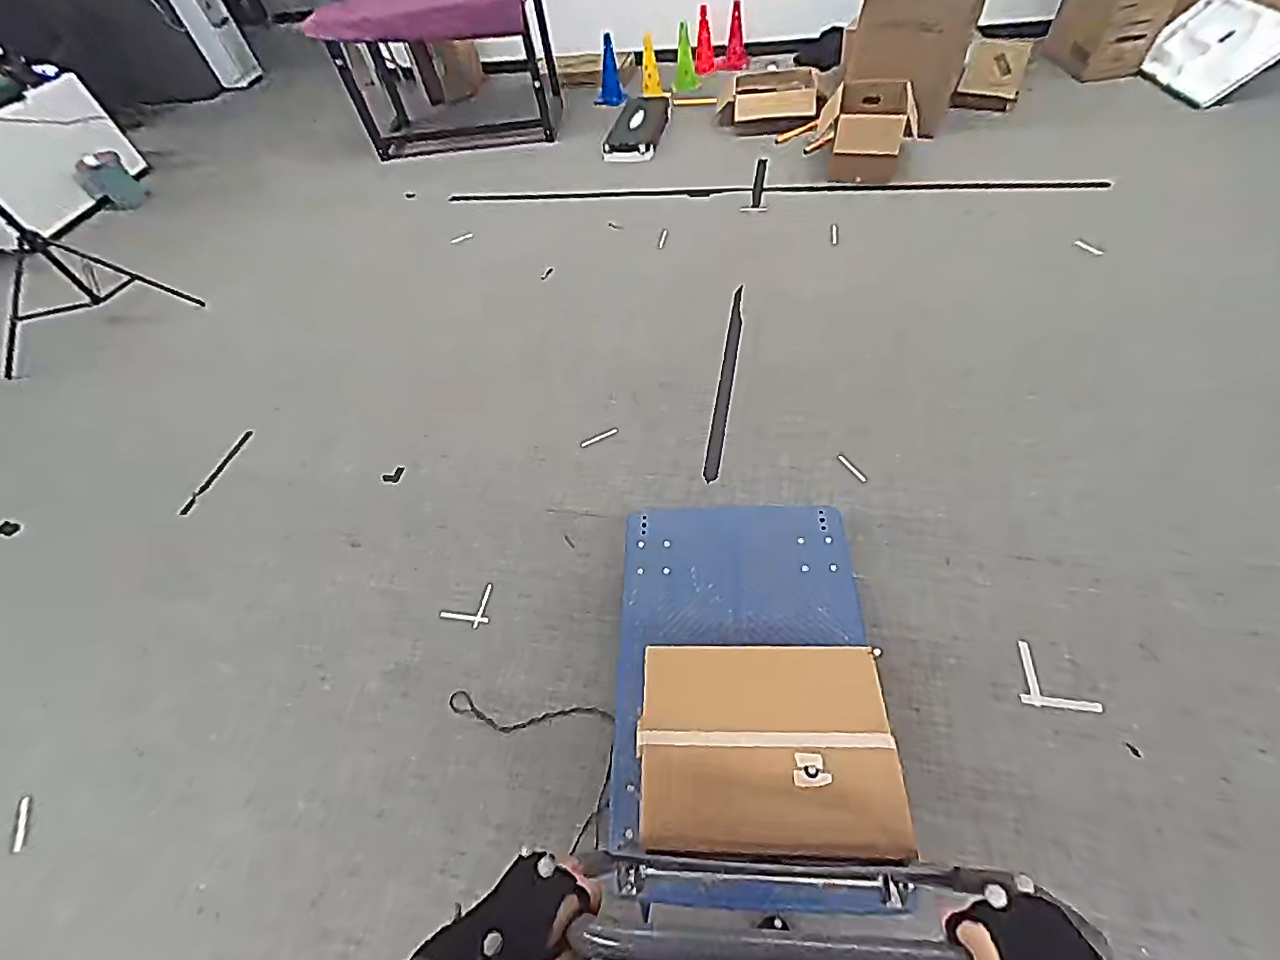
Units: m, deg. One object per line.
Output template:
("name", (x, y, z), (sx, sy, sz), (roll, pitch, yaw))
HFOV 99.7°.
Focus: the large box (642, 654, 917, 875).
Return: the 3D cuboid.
("large box", (0.215, 0.527, 0.992), (0.408, 0.320, 0.320), (-2, 53, 5))
